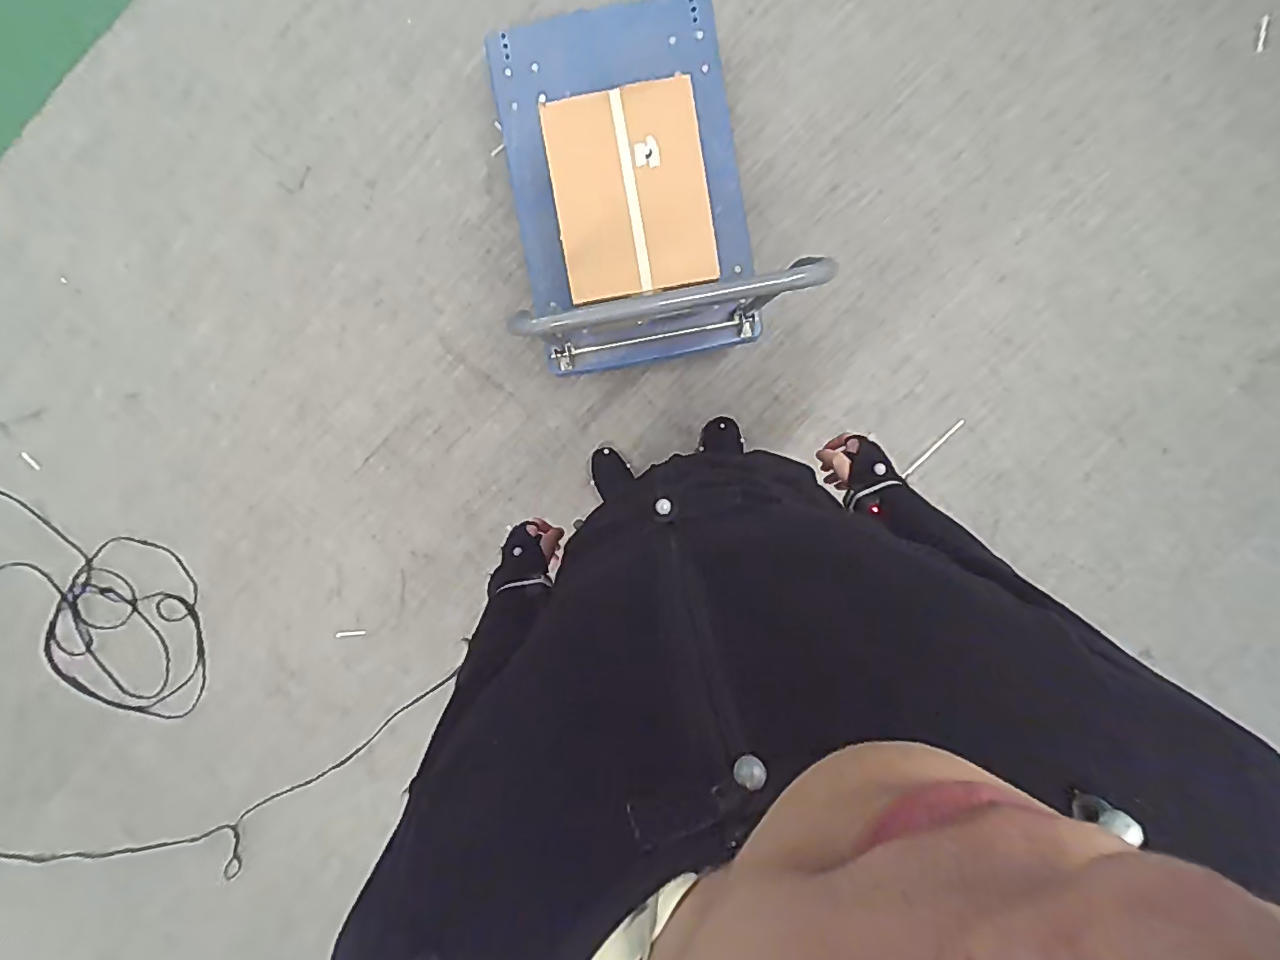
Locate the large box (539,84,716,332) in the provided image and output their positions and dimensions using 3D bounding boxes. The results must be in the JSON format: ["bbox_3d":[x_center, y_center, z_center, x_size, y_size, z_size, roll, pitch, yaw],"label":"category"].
[{"bbox_3d":[-0.019,-0.600,1.270,0.320,0.320,0.408,-9,94,1],"label":"large box"}]
